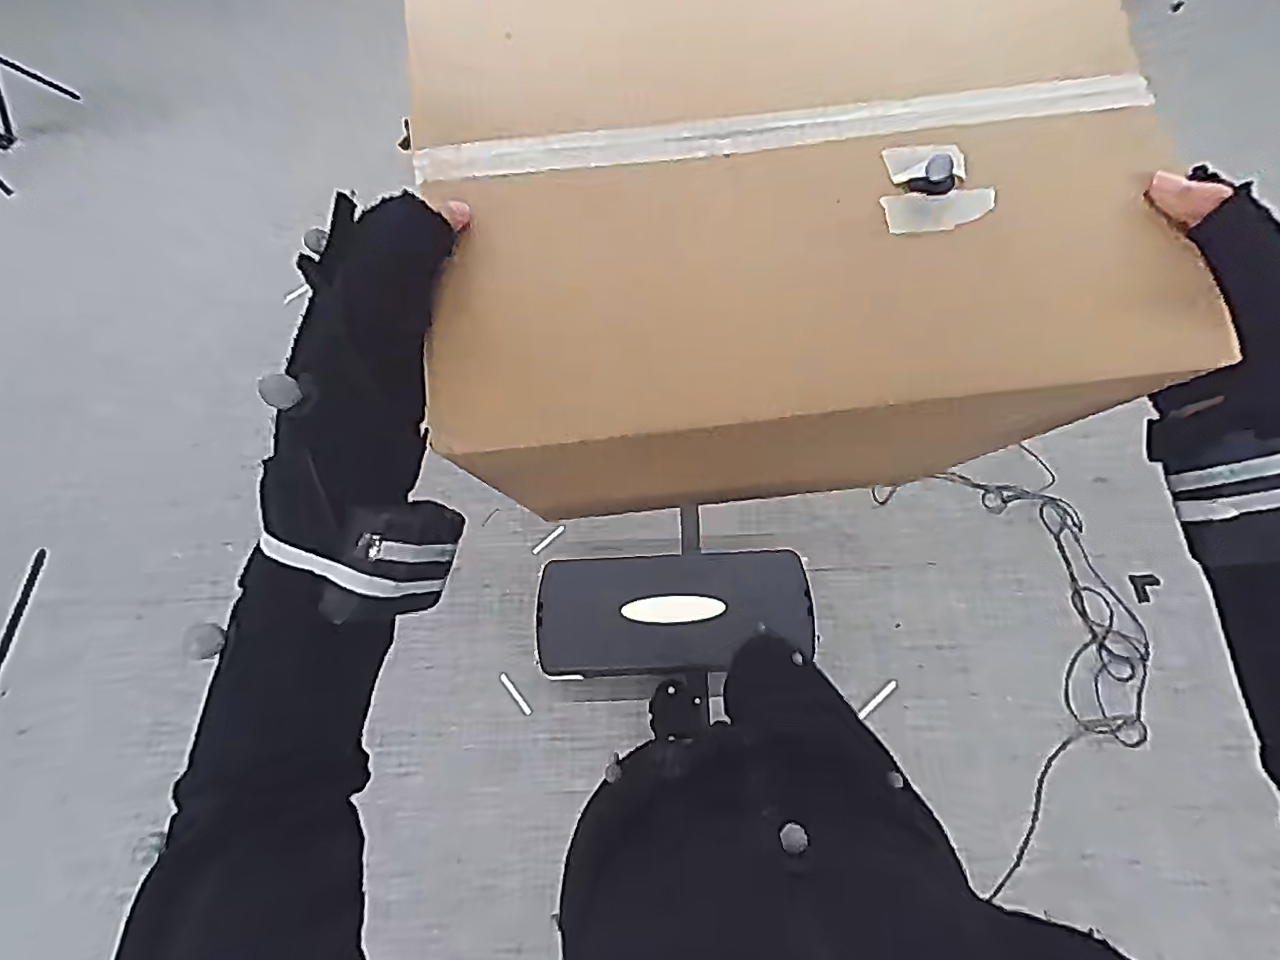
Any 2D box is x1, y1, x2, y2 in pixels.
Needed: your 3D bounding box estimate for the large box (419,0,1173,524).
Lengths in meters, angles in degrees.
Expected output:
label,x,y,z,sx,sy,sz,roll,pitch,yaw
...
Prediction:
label,x,y,z,sx,sy,sz,roll,pitch,yaw
large box,0.074,-0.156,0.463,0.408,0.320,0.320,-7,79,-2
